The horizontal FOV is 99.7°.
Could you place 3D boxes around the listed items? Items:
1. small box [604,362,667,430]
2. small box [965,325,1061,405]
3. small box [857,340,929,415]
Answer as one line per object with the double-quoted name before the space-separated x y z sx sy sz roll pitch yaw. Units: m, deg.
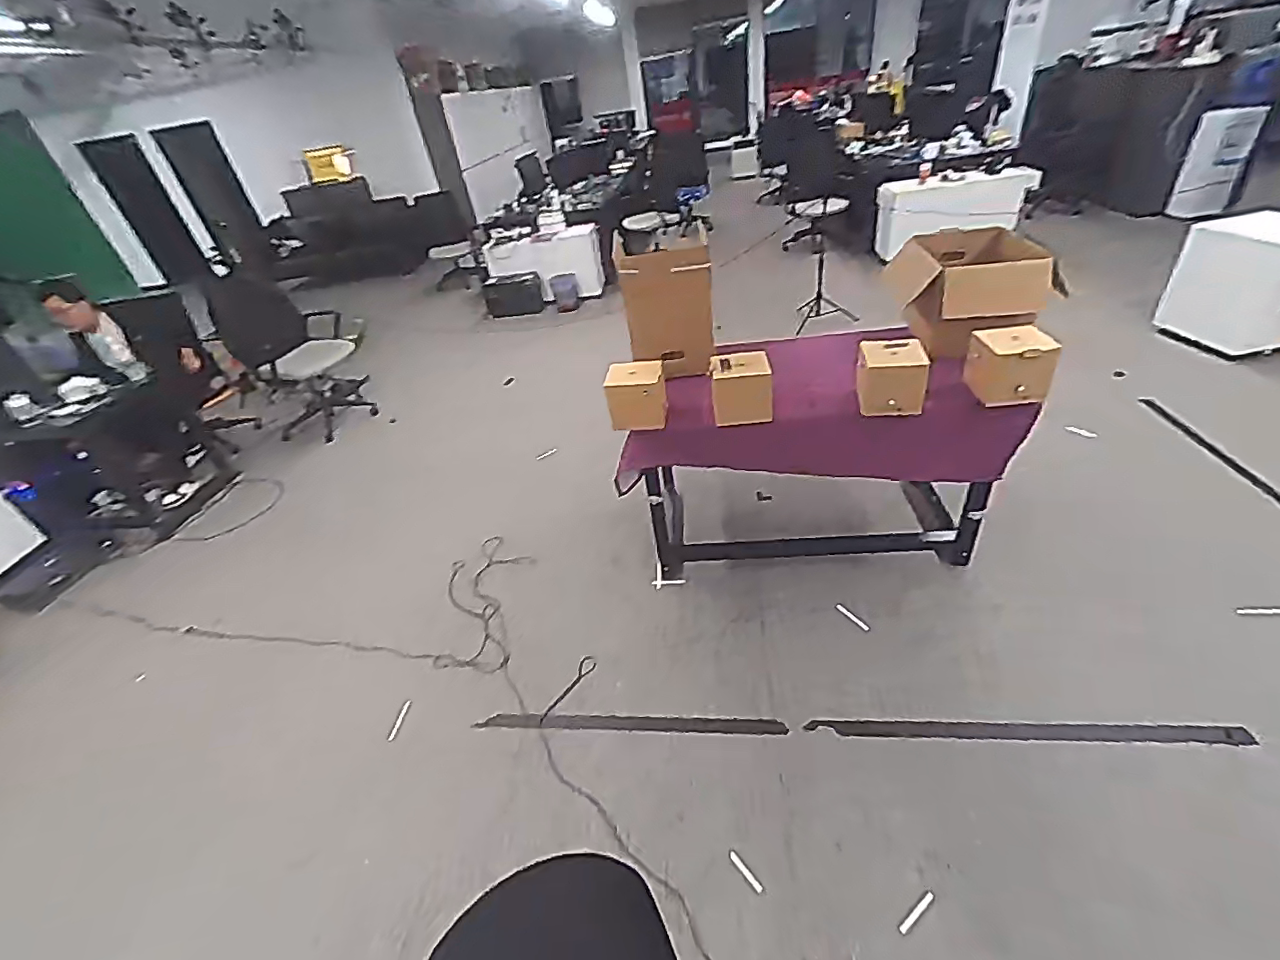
"small box" -0.010 -0.276 1.785 0.179 0.176 0.168 -2 37 9
"small box" 1.090 -0.339 1.599 0.168 0.176 0.179 -5 36 9
"small box" 0.762 -0.312 1.646 0.168 0.176 0.179 0 39 14
